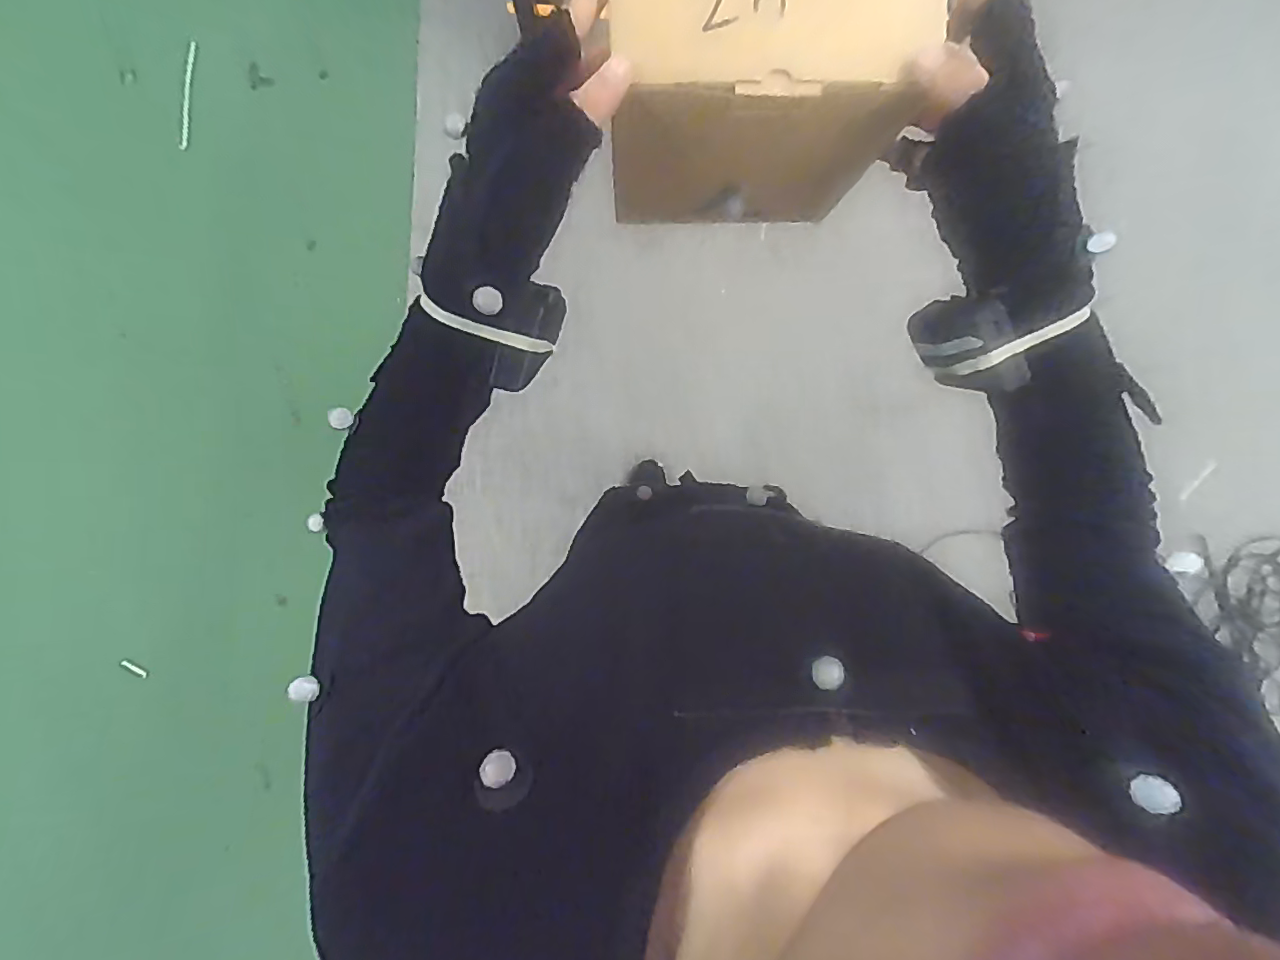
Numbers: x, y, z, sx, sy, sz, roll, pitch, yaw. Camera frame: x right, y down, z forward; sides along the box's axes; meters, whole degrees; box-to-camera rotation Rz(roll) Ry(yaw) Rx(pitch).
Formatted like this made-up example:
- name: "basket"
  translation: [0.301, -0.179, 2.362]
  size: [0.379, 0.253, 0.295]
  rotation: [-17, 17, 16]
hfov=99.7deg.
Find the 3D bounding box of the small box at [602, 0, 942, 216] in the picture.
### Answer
- name: "small box"
  translation: [0.061, -0.291, 0.335]
  size: [0.168, 0.176, 0.179]
  rotation: [-1, 93, -1]
